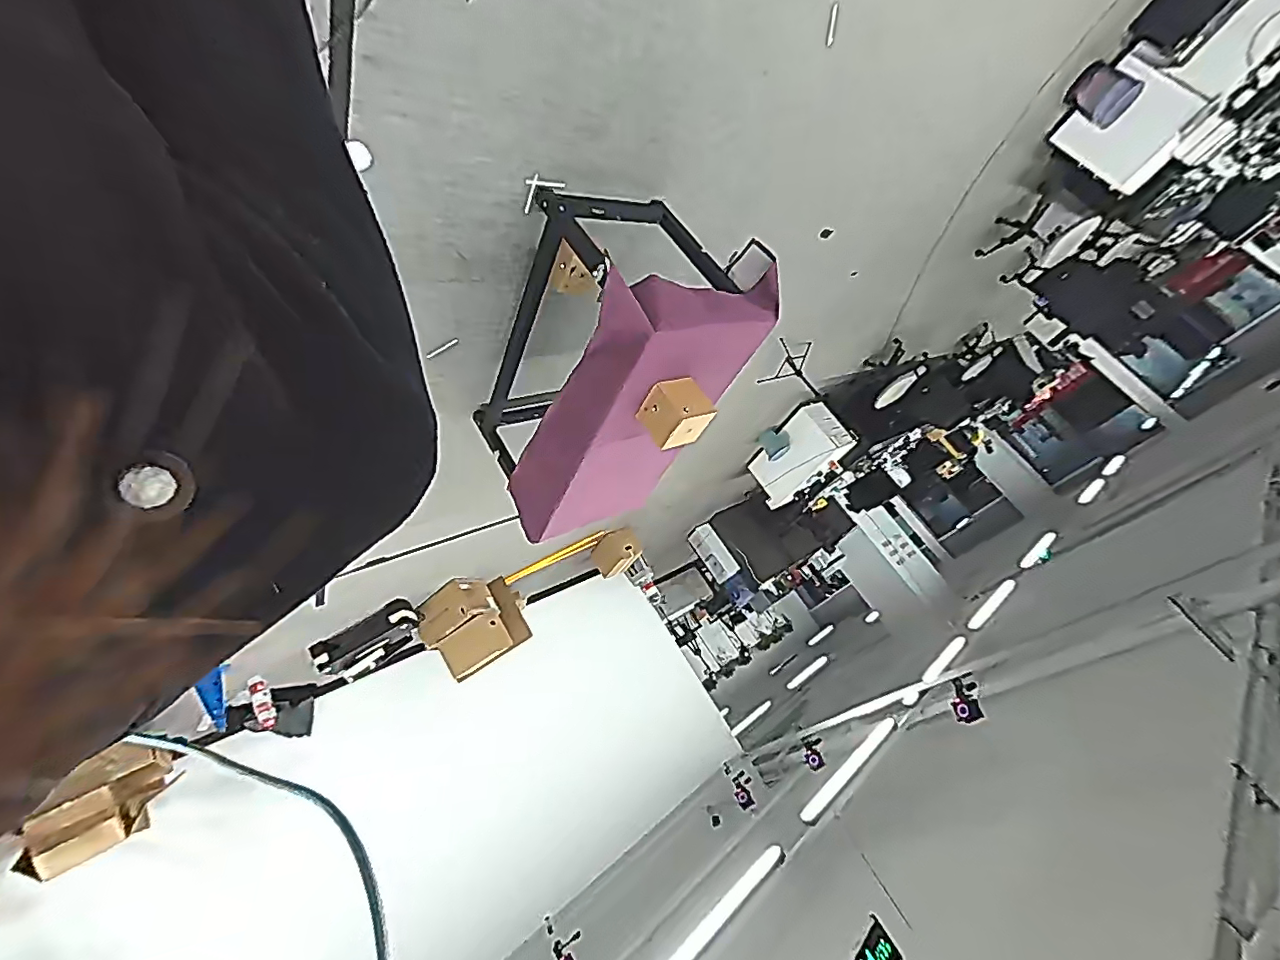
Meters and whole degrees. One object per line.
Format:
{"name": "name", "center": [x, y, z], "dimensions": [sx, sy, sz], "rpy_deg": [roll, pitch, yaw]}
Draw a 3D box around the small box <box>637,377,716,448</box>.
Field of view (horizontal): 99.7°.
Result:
{"name": "small box", "center": [0.121, -0.240, 1.878], "dimensions": [0.179, 0.176, 0.168], "rpy_deg": [-17, 155, -39]}
